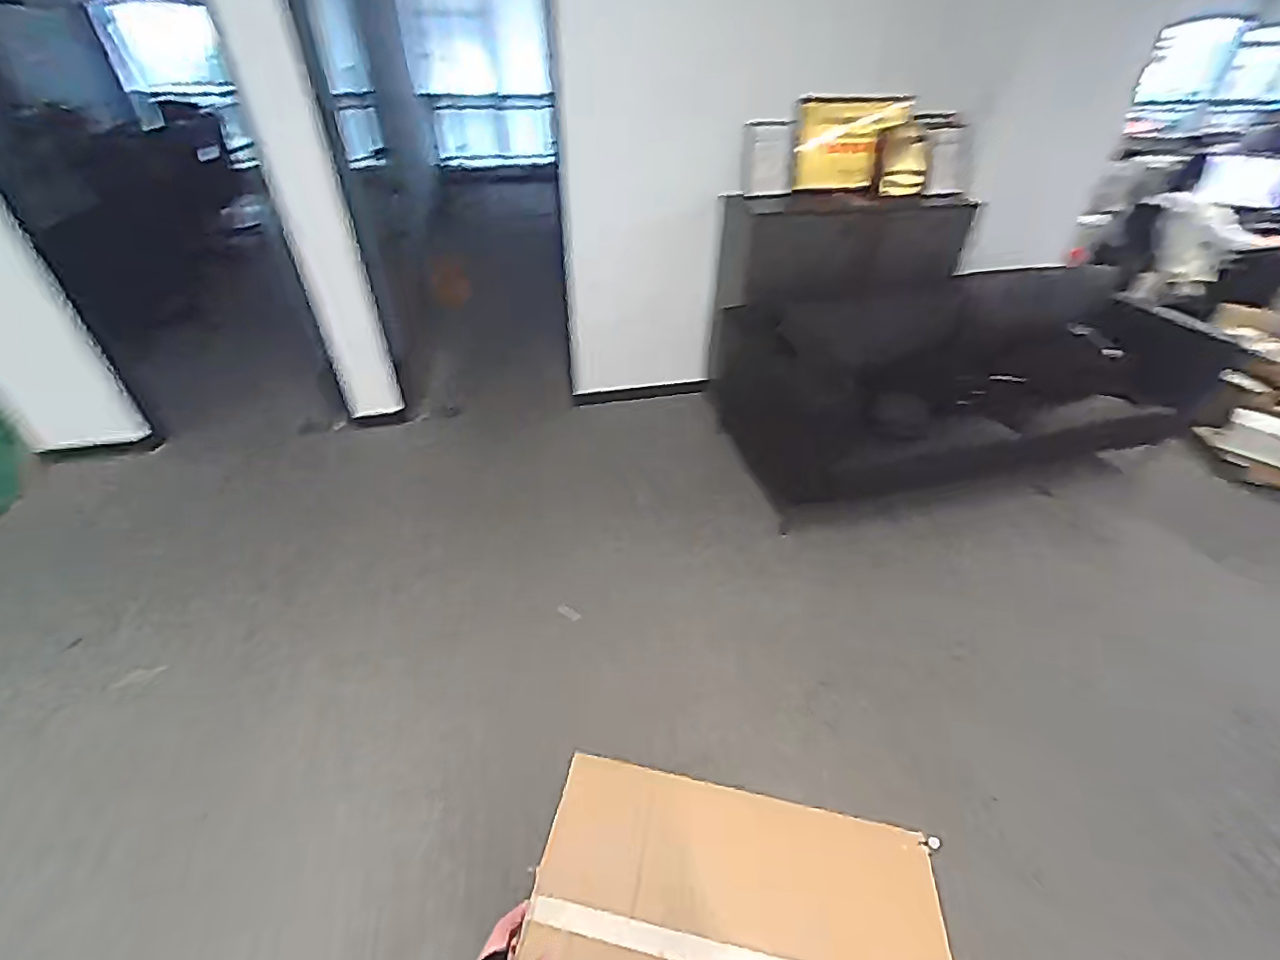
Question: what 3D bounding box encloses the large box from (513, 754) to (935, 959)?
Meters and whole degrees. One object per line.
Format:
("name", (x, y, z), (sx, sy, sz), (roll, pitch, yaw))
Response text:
("large box", (0.070, 0.567, 0.600), (0.408, 0.320, 0.320), (10, 36, 5))
